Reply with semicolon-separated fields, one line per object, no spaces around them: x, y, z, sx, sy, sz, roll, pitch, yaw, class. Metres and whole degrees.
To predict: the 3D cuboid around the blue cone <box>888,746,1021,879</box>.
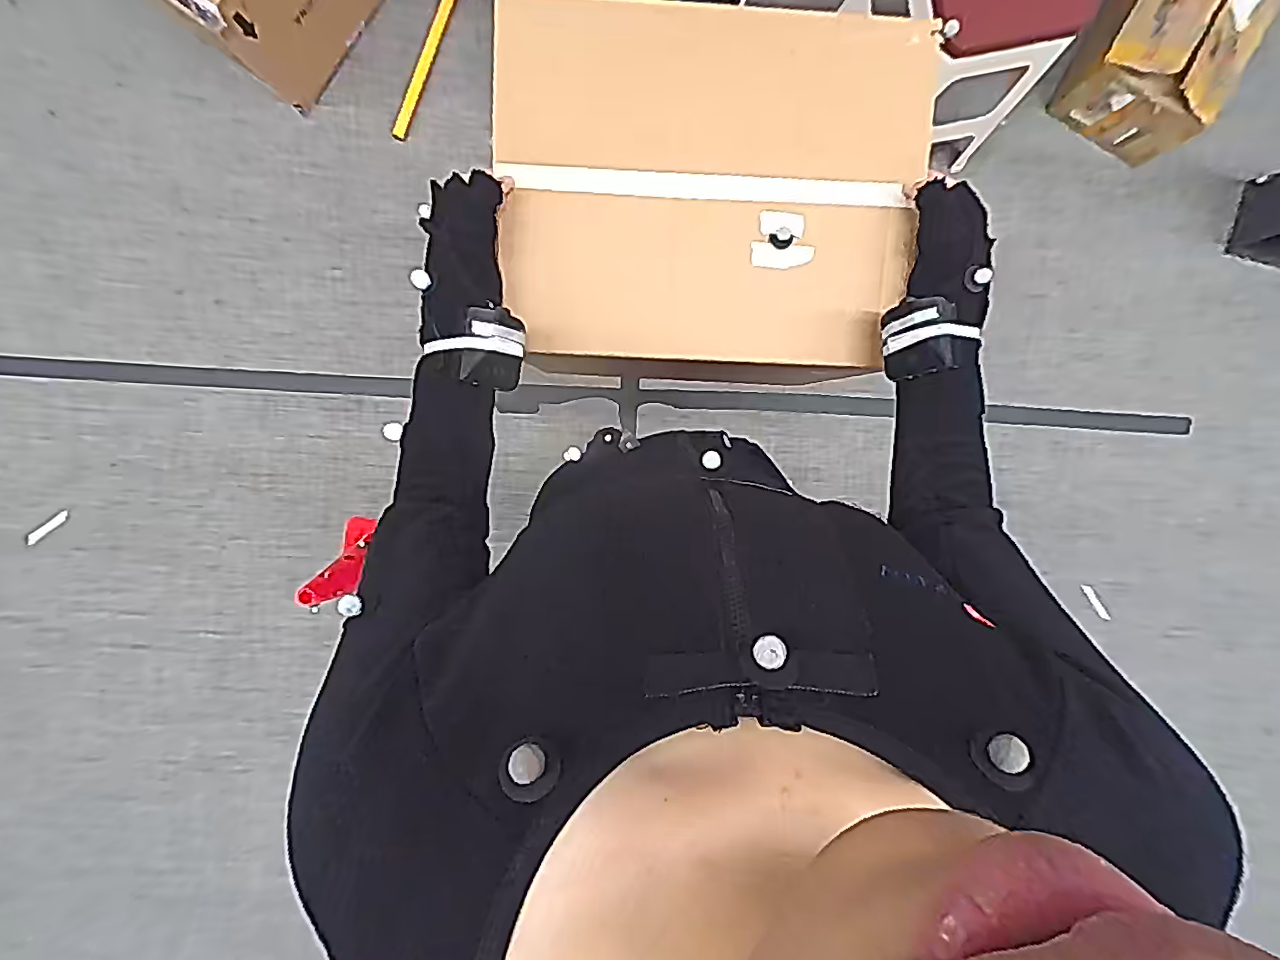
0.836;0.884;1.423;0.192;0.380;0.193;6;95;-4;blue cone

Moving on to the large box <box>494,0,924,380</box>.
0.056;-0.292;0.656;0.408;0.320;0.320;2;97;-3;large box
